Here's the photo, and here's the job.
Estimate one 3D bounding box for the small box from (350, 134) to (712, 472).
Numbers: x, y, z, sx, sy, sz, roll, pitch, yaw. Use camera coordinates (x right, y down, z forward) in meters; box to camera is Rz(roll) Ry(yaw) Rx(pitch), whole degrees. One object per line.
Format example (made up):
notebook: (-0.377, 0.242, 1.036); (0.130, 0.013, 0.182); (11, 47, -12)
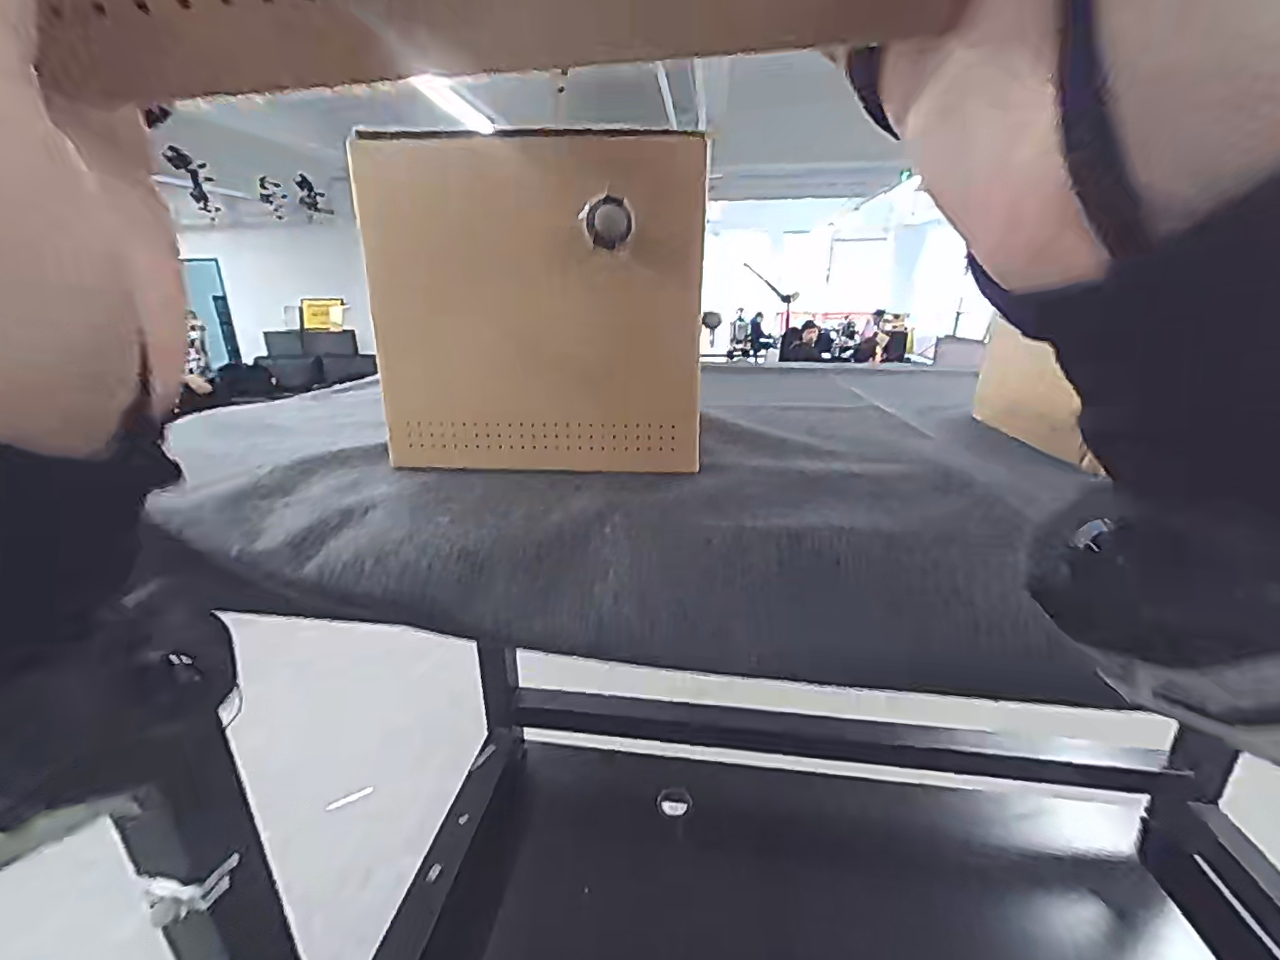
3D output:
small box: (-0.048, -0.105, 0.353); (0.179, 0.176, 0.168); (1, 17, 4)
